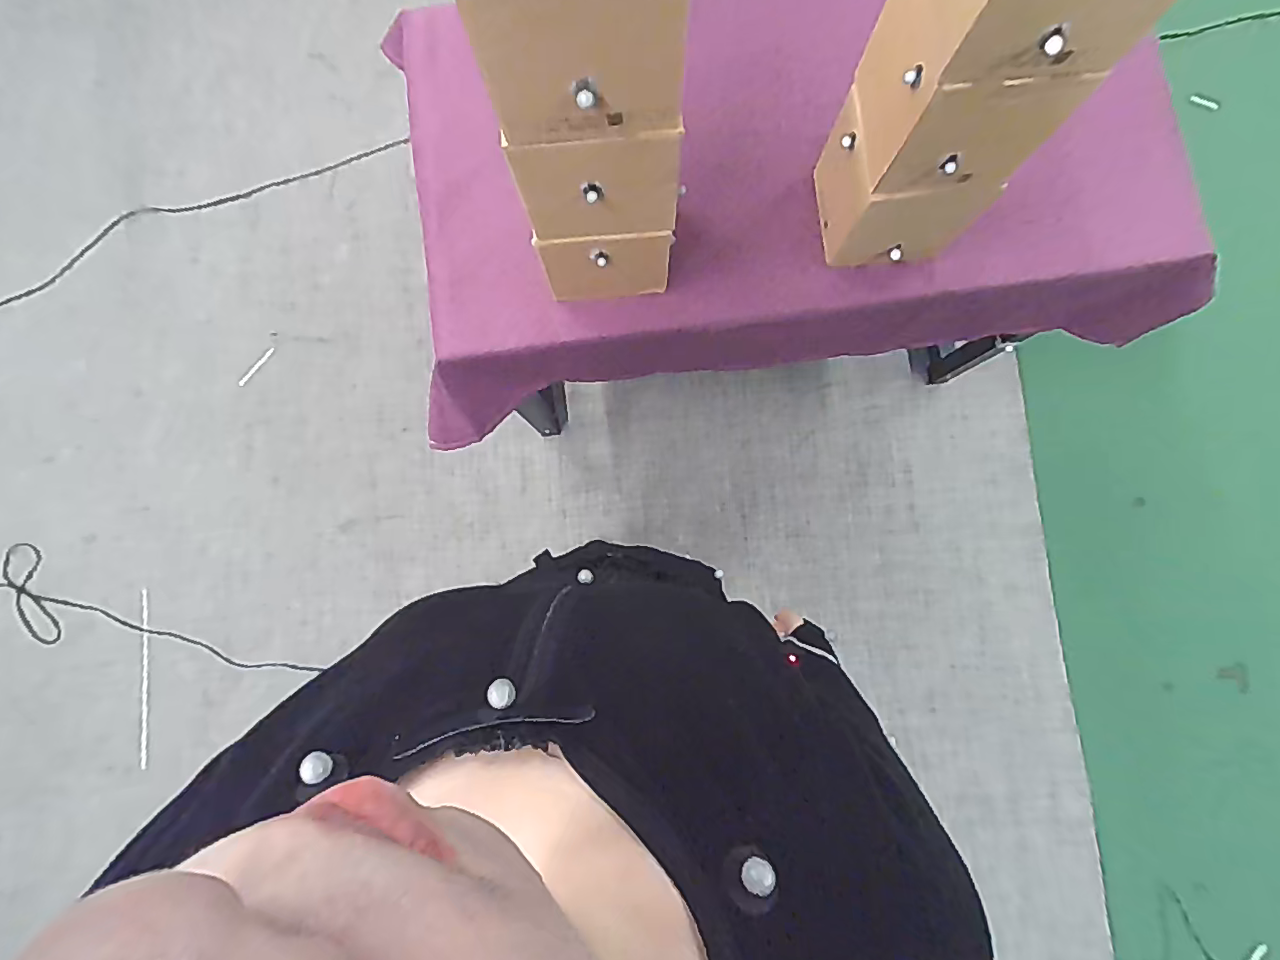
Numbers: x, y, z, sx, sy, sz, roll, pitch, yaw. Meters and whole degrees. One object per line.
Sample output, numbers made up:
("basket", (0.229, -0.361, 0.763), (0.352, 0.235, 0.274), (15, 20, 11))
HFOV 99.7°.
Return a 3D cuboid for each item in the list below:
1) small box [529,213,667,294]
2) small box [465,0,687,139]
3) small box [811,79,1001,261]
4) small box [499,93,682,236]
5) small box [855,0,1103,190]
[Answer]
("small box", (-0.055, -0.377, 0.766), (0.179, 0.176, 0.168), (-4, 84, 0))
("small box", (-0.054, -0.421, 0.440), (0.168, 0.176, 0.179), (-5, 85, 1))
("small box", (0.362, -0.433, 0.767), (0.179, 0.176, 0.168), (-5, 83, -1))
("small box", (-0.051, -0.397, 0.604), (0.179, 0.176, 0.168), (-5, 84, 1))
("small box", (0.358, -0.461, 0.606), (0.168, 0.176, 0.179), (-5, 85, 0))
